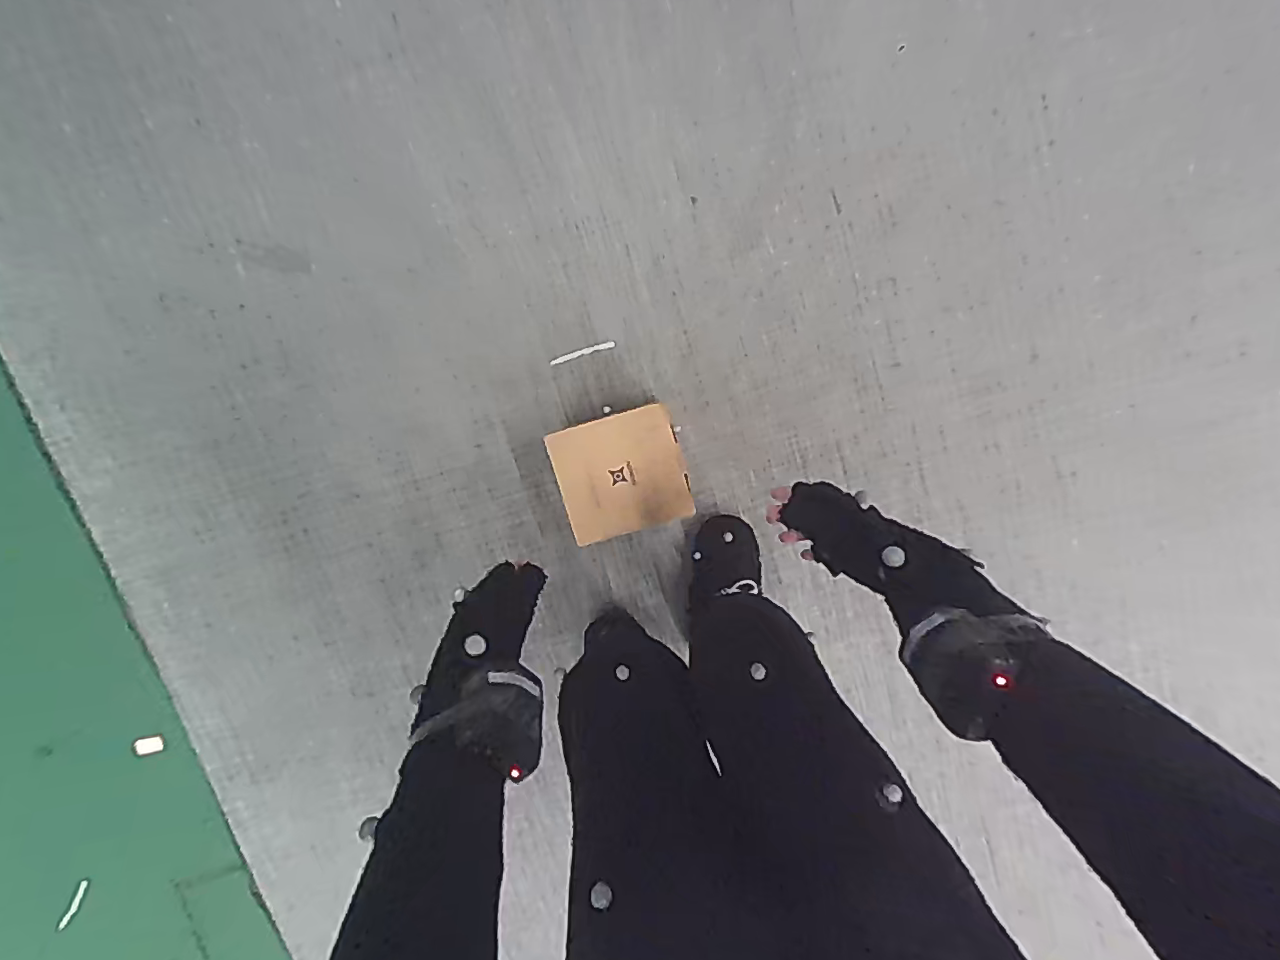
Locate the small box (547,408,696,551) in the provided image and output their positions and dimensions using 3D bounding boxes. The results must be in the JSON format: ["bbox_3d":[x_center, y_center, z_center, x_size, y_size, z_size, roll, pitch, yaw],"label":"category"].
[{"bbox_3d":[-0.025,-0.011,0.830,0.179,0.176,0.168,-17,98,3],"label":"small box"}]
